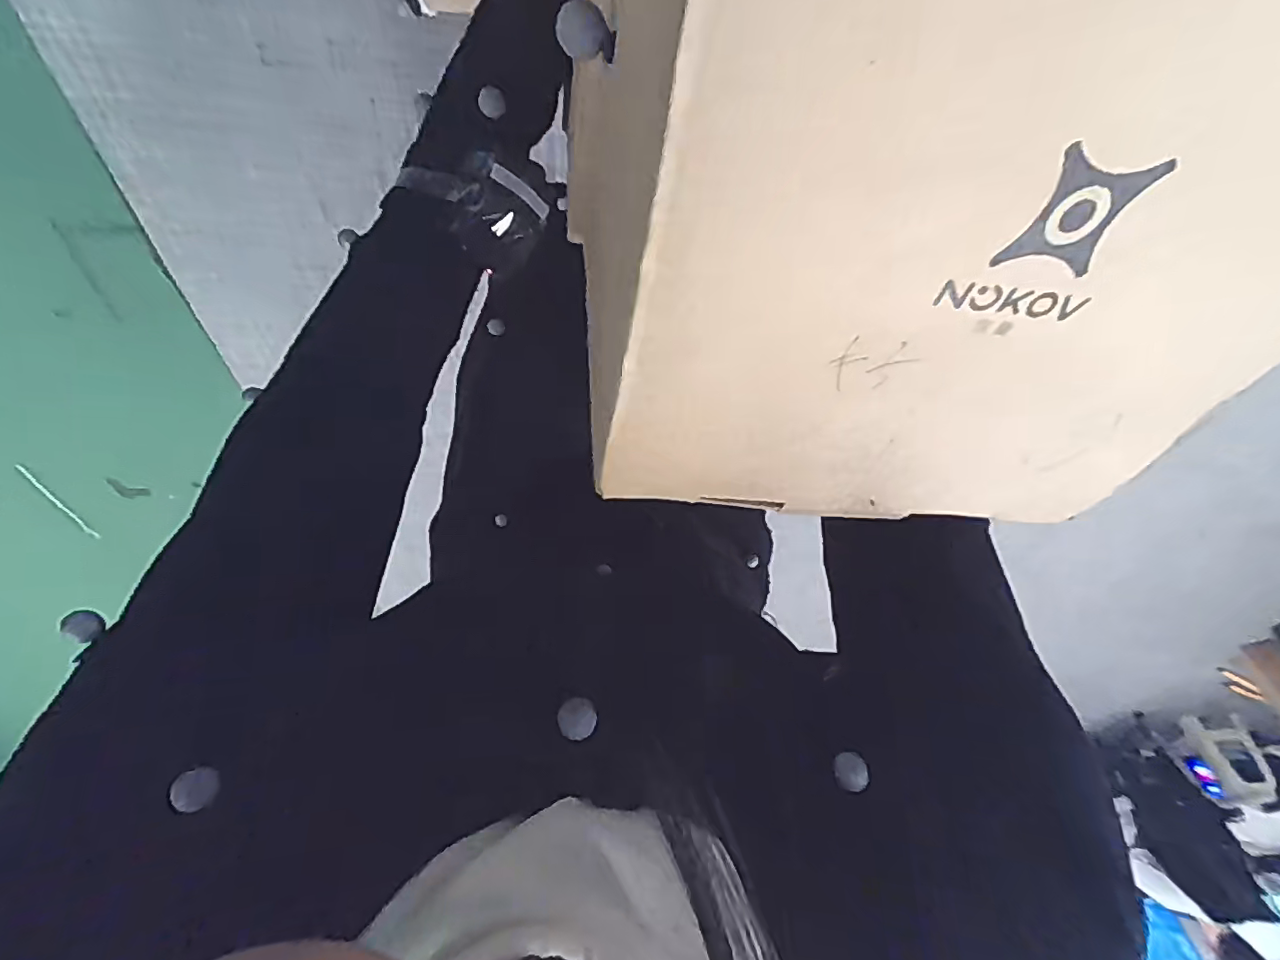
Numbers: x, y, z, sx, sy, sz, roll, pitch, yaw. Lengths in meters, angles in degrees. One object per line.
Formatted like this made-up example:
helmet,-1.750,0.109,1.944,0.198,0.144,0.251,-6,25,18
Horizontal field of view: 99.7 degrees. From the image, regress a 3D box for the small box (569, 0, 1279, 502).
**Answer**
small box,0.069,-0.114,0.168,0.168,0.176,0.179,3,141,-10
